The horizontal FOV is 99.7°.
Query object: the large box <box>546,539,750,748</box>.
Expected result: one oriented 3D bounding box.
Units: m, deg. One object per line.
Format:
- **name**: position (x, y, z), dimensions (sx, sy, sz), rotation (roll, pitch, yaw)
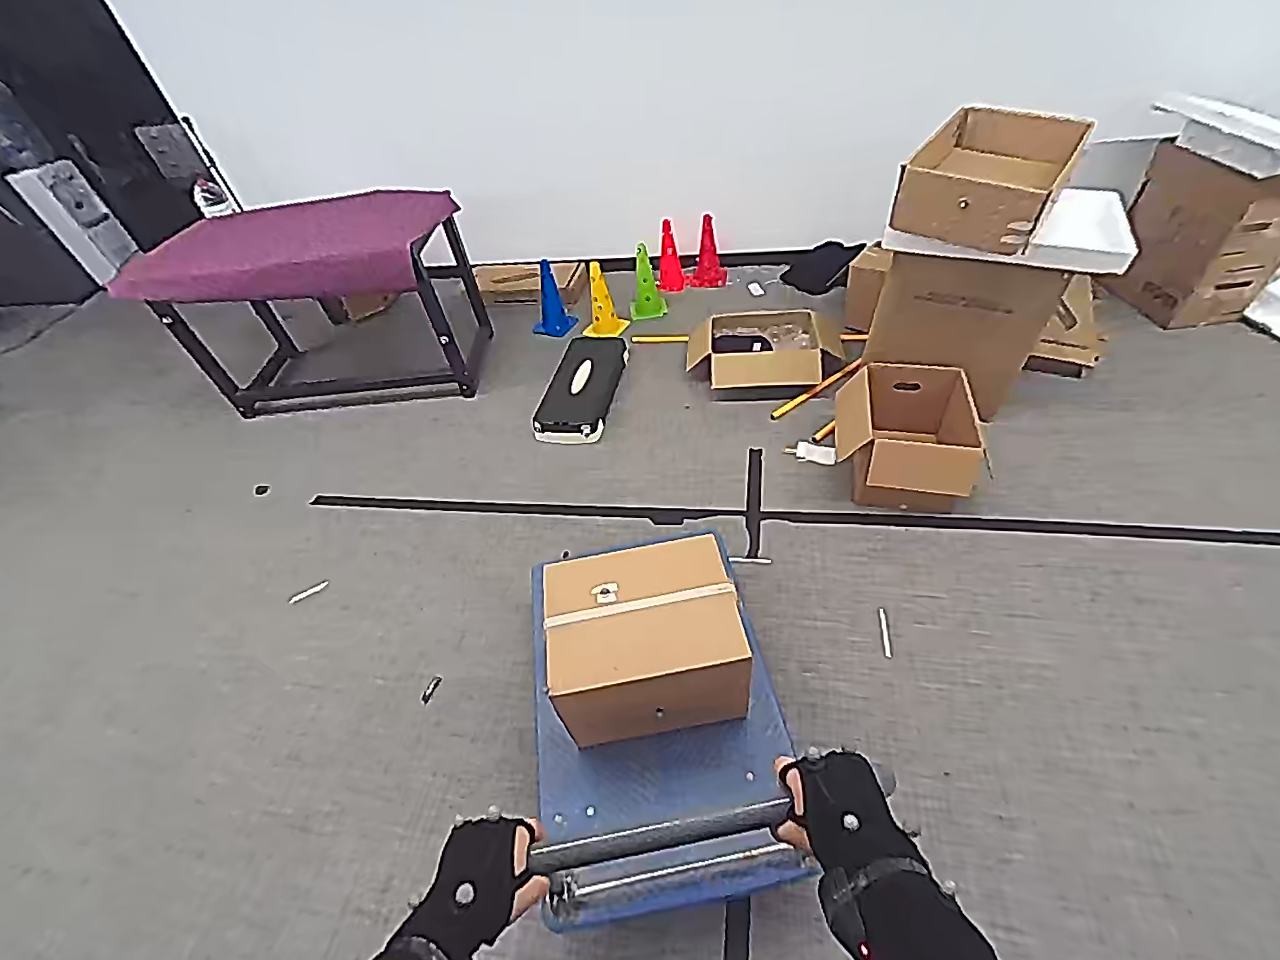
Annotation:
- **large box**: position (0.019, 0.388, 1.274), dimensions (0.408, 0.320, 0.320), rotation (-12, 45, -1)
